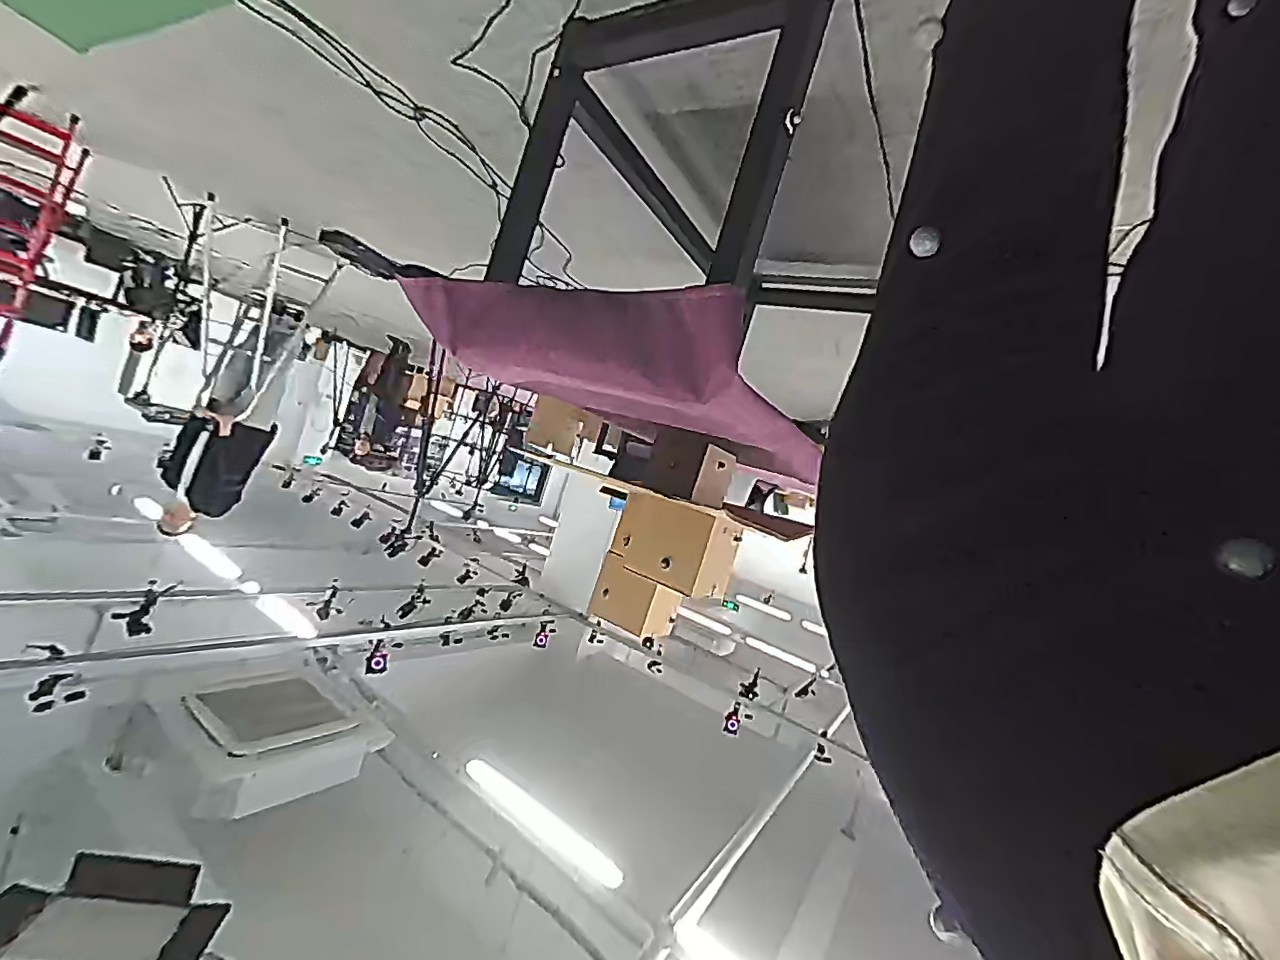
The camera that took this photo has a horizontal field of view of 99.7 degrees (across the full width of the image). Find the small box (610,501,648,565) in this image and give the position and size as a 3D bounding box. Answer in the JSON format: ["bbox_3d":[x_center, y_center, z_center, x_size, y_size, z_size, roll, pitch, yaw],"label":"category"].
[{"bbox_3d":[0.053,0.160,1.428,0.179,0.176,0.168,16,175,32],"label":"small box"}]

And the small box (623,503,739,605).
[{"bbox_3d":[0.097,0.157,1.158,0.179,0.176,0.168,17,177,33],"label":"small box"}]
